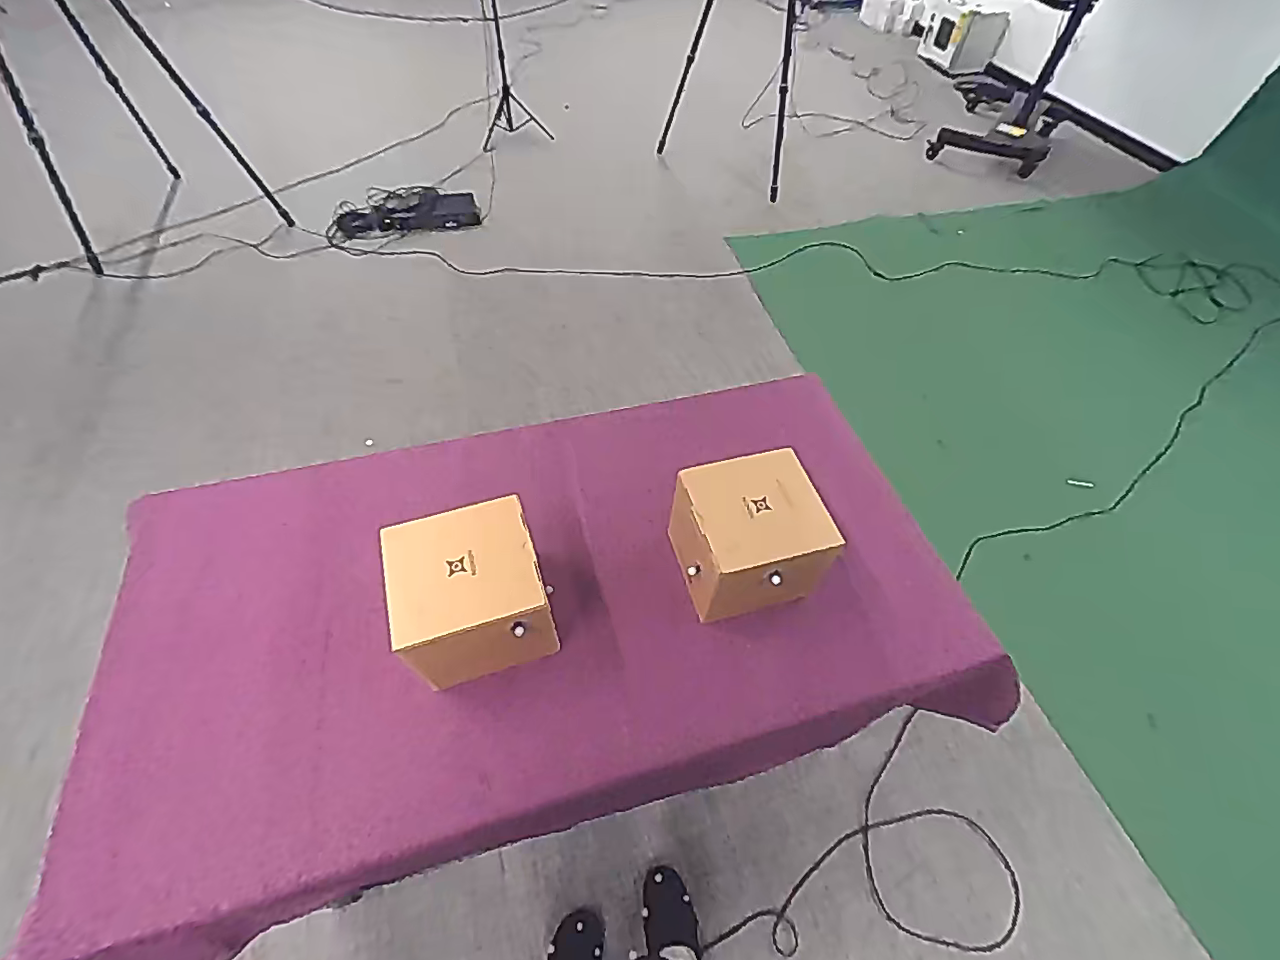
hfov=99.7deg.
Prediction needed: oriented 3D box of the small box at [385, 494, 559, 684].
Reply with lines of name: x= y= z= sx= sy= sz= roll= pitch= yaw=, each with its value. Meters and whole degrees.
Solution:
small box: x=-0.217 y=0.150 z=0.722 sx=0.179 sy=0.176 sz=0.168 roll=-15 pitch=56 yaw=-14

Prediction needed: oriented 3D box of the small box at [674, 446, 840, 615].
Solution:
small box: x=0.154 y=0.078 z=0.788 sx=0.179 sy=0.176 sz=0.168 roll=-12 pitch=56 yaw=-11
